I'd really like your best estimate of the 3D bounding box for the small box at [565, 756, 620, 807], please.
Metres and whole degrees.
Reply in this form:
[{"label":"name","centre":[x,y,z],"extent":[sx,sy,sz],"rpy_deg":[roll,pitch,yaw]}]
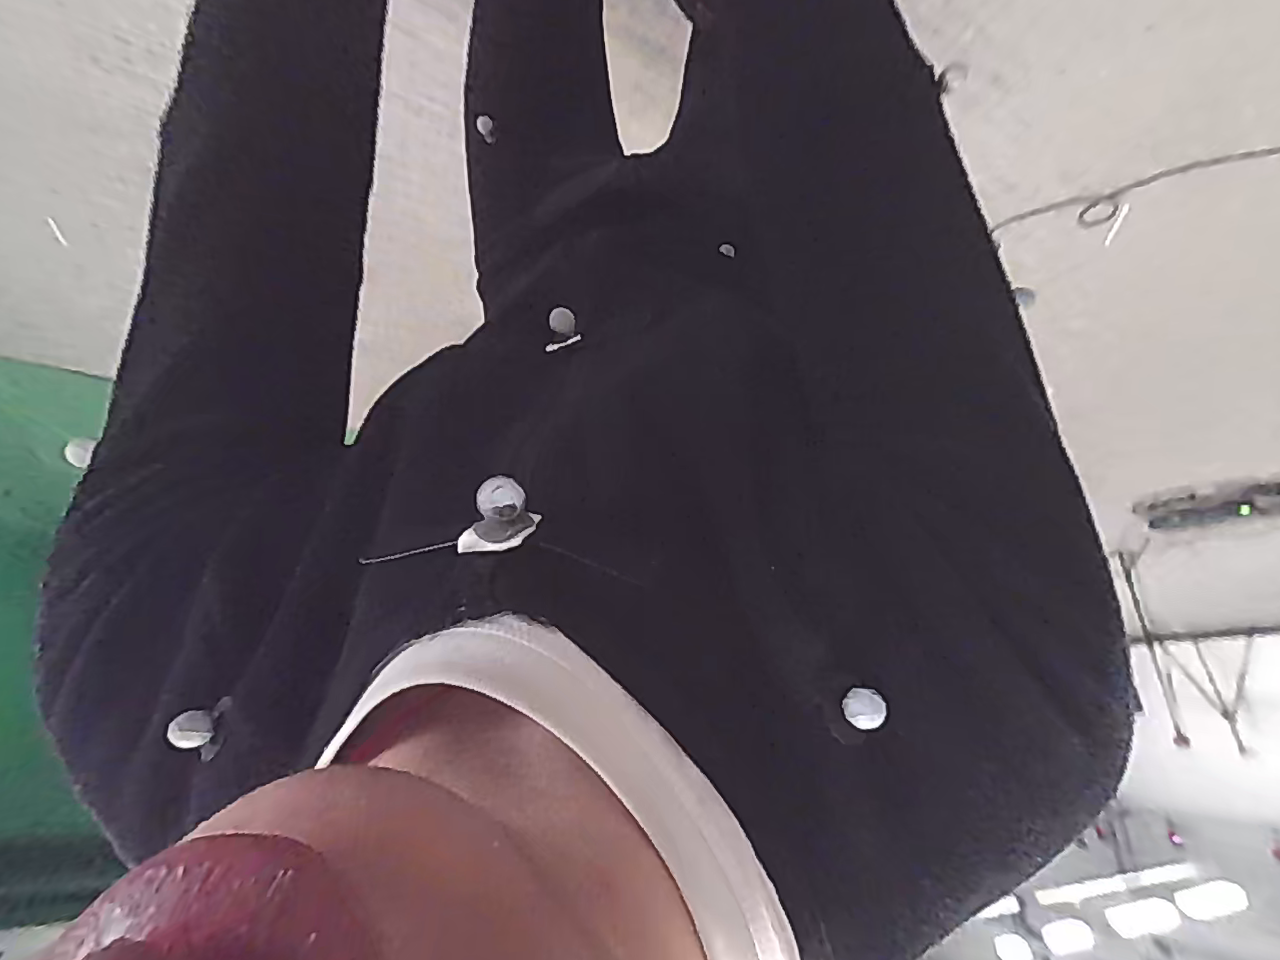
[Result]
[{"label":"small box","centre":[-0.186,1.206,2.173],"extent":[0.168,0.176,0.179],"rpy_deg":[14,151,-28]}]
